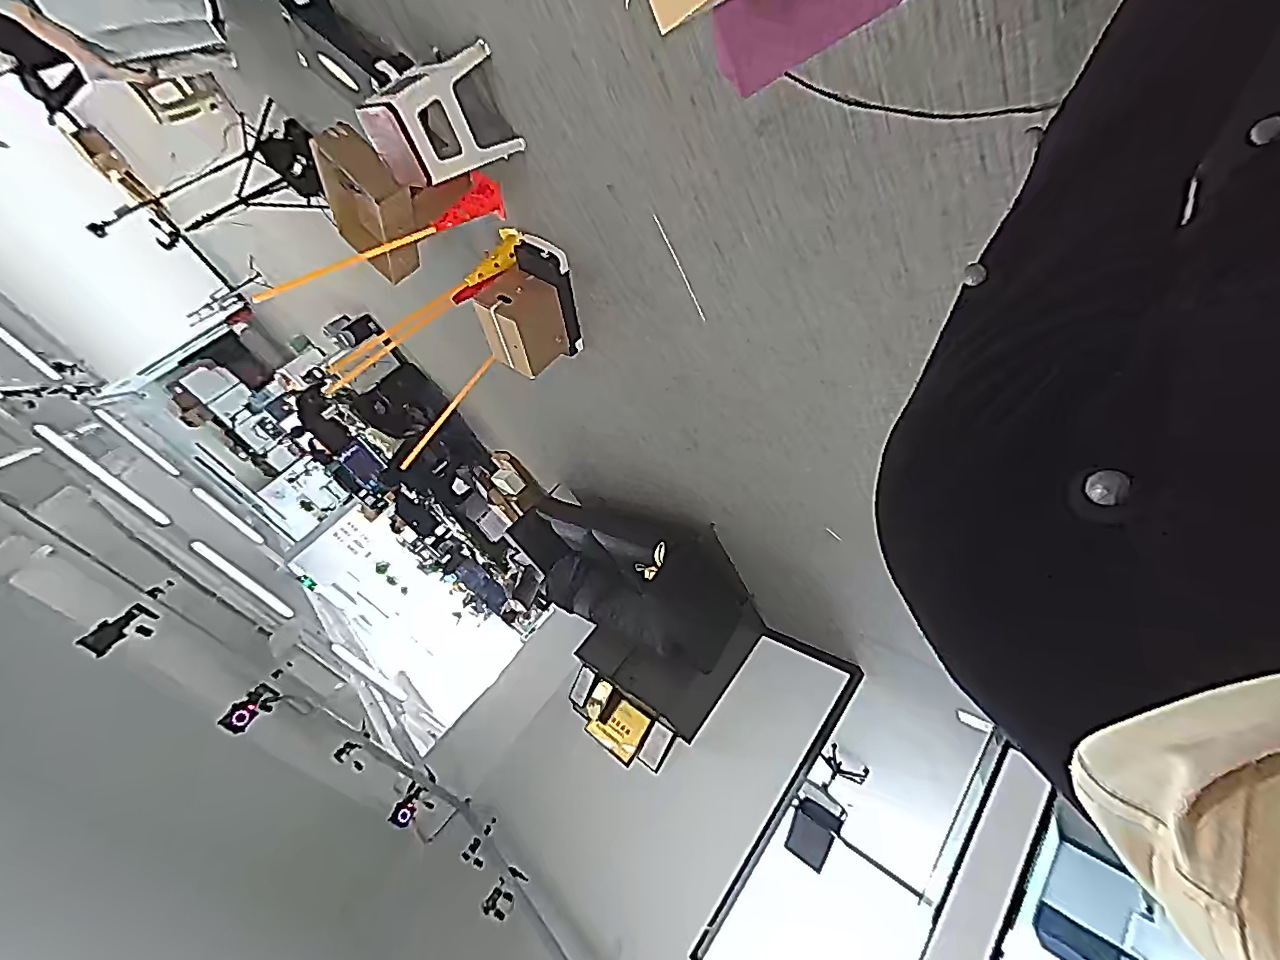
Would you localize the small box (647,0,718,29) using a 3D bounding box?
[{"bbox_3d":[0.090,-0.667,0.605,0.168,0.176,0.179,13,143,50],"label":"small box"}]
